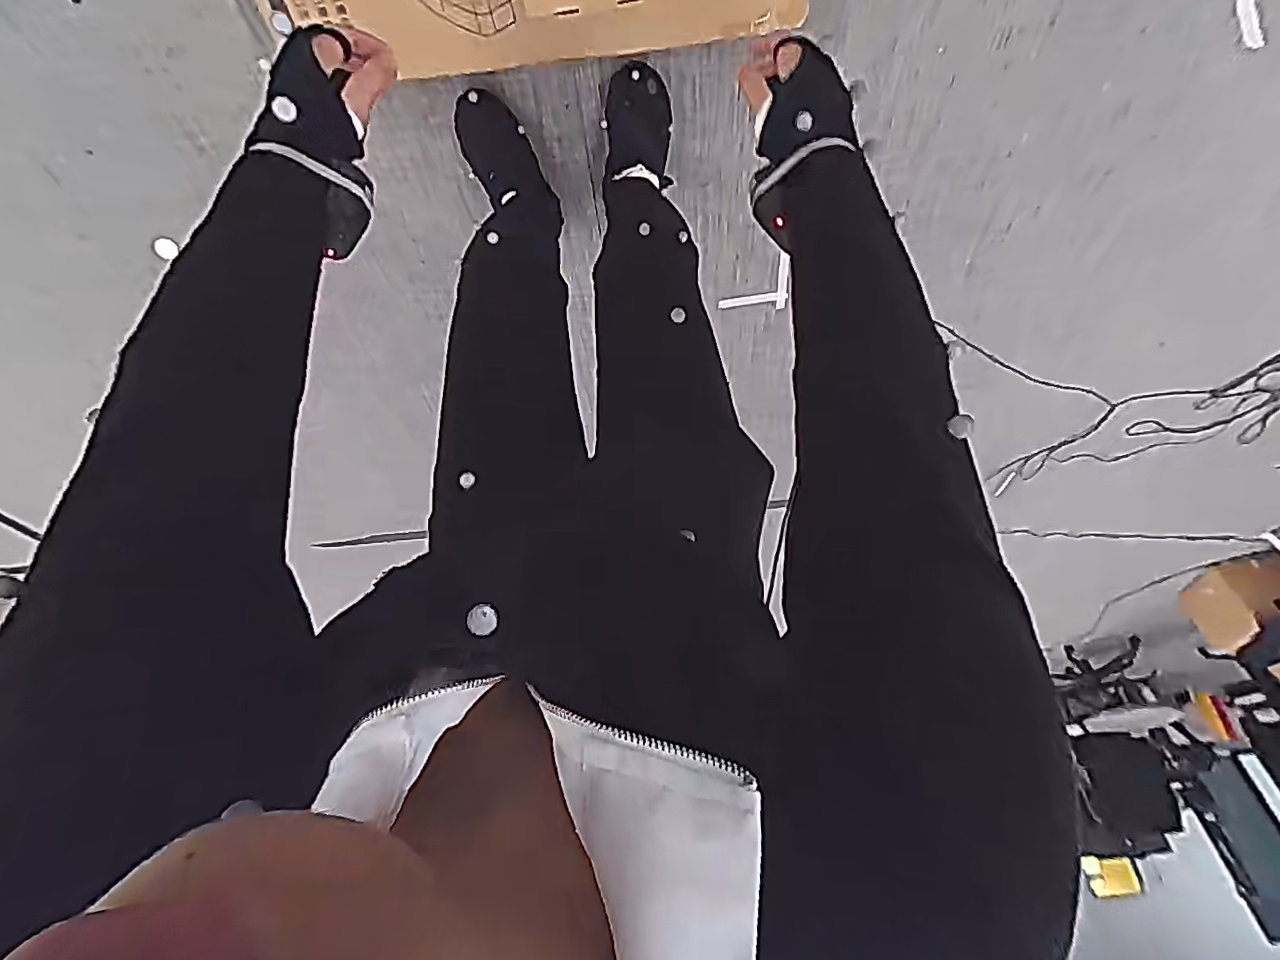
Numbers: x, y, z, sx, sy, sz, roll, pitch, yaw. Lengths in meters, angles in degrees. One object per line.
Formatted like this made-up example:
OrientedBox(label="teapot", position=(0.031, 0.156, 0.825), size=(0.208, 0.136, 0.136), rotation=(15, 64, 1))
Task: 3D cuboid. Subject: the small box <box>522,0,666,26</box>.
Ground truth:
OrientedBox(label="small box", position=(-0.062, -0.643, 0.591), size=(0.168, 0.176, 0.179), rotation=(-7, 143, 4))
